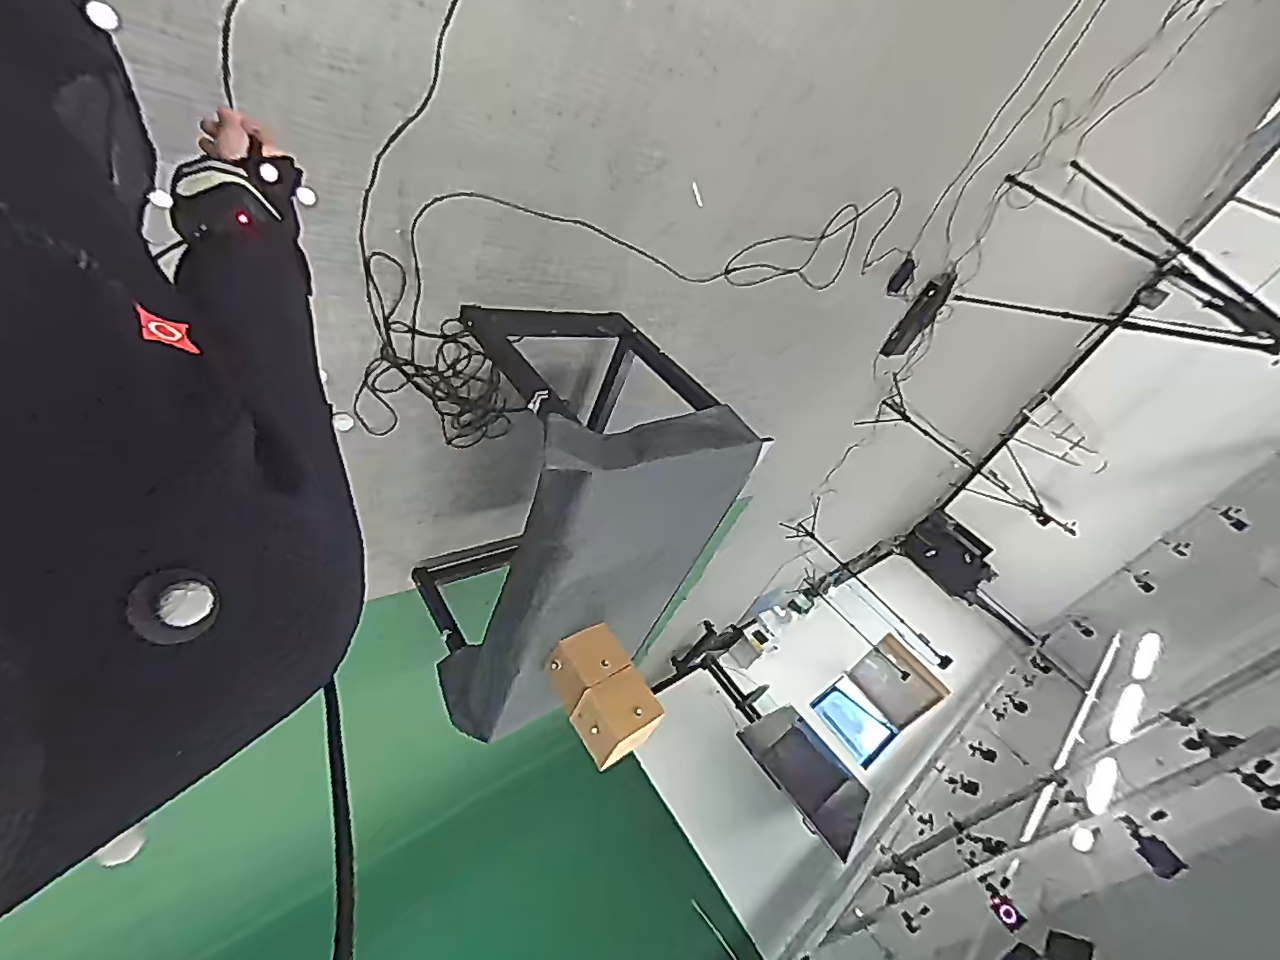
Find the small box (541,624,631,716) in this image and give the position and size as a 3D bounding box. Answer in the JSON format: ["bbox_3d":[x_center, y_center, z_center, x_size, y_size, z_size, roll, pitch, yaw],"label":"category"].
[{"bbox_3d":[-0.163,0.557,1.609,0.179,0.176,0.168,-11,138,-42],"label":"small box"}]

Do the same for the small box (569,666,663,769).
[{"bbox_3d":[-0.073,0.661,1.523,0.179,0.176,0.168,-14,140,-42],"label":"small box"}]
